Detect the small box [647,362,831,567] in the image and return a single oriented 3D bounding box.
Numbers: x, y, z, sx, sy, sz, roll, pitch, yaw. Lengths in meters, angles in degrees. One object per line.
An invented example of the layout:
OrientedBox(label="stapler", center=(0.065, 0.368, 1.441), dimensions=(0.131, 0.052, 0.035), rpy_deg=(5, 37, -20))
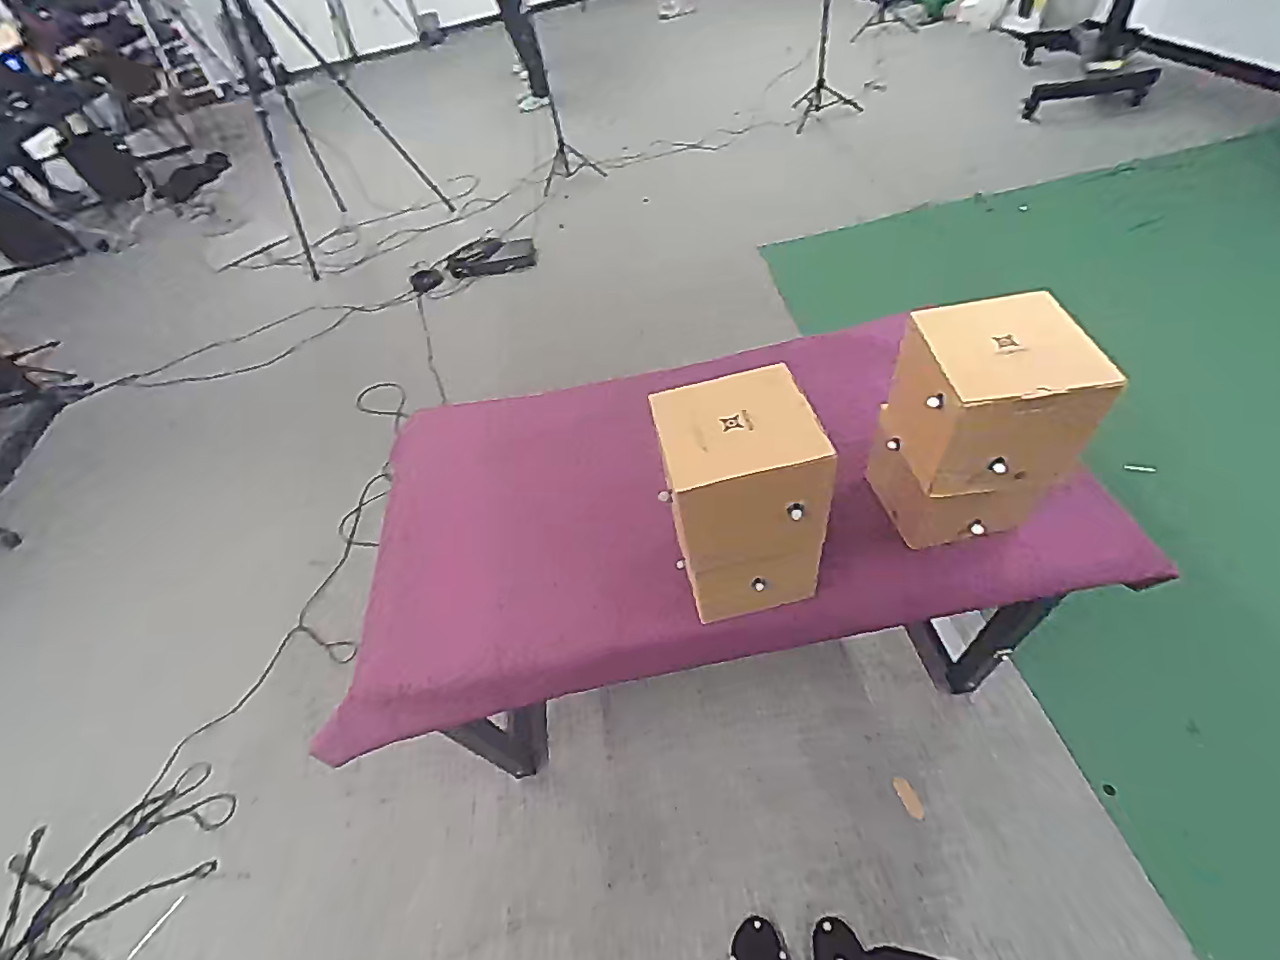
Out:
OrientedBox(label="small box", center=(0.117, -0.015, 0.674), dimensions=(0.179, 0.176, 0.168), rpy_deg=(-14, 47, 2))

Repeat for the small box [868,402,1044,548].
OrientedBox(label="small box", center=(0.470, -0.022, 0.818), dimensions=(0.179, 0.176, 0.168), rpy_deg=(-14, 48, 2))

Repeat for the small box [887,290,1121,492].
OrientedBox(label="small box", center=(0.431, -0.109, 0.683), dimensions=(0.168, 0.176, 0.179), rpy_deg=(-8, 50, 7))
